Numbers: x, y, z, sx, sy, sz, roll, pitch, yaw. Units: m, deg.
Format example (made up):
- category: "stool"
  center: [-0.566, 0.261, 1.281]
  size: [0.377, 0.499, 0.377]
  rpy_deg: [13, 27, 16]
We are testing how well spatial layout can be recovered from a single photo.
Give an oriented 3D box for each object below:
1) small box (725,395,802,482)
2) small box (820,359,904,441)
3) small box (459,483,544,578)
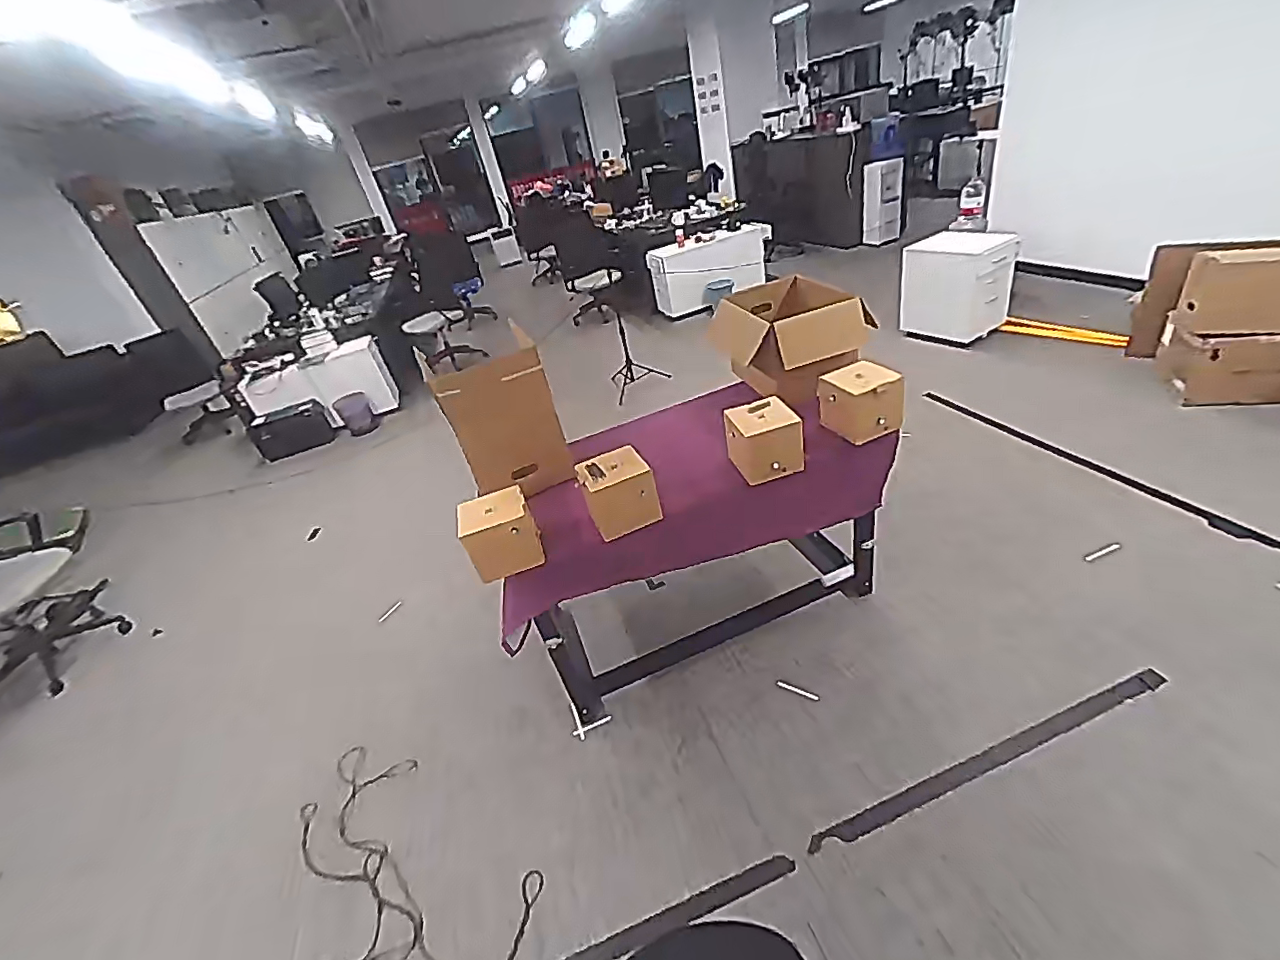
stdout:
- category: "small box"
  center: [0.357, -0.120, 1.569]
  size: [0.168, 0.176, 0.179]
  rpy_deg: [-17, 35, -4]
- category: "small box"
  center: [0.663, -0.239, 1.627]
  size: [0.168, 0.176, 0.179]
  rpy_deg: [-22, 34, -9]
- category: "small box"
  center: [-0.375, 0.138, 1.462]
  size: [0.179, 0.176, 0.168]
  rpy_deg: [-18, 33, -9]
